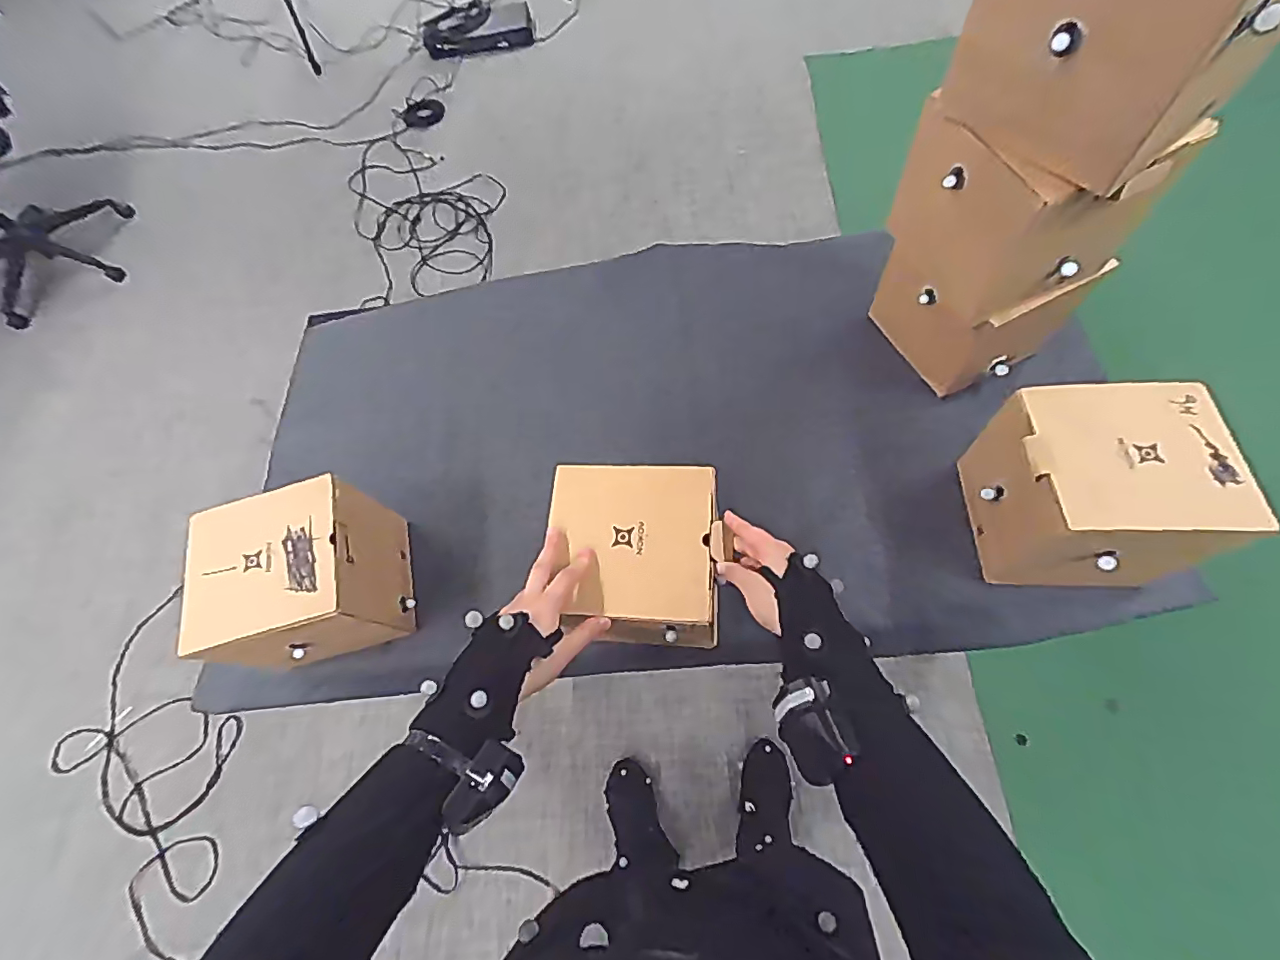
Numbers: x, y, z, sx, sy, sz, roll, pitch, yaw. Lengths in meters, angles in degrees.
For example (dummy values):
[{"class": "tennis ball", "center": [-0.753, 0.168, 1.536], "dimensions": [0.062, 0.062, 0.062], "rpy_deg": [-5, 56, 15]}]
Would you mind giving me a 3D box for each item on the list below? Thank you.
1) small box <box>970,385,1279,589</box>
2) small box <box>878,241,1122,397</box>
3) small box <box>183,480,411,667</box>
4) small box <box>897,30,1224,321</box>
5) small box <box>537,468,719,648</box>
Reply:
[{"class": "small box", "center": [0.487, 0.016, 0.586], "dimensions": [0.179, 0.176, 0.168], "rpy_deg": [-1, 63, 8]}, {"class": "small box", "center": [0.445, -0.242, 0.709], "dimensions": [0.168, 0.176, 0.179], "rpy_deg": [-27, 68, -1]}, {"class": "small box", "center": [-0.400, 0.123, 0.663], "dimensions": [0.179, 0.176, 0.168], "rpy_deg": [-16, 66, 1]}, {"class": "small box", "center": [0.400, -0.302, 0.561], "dimensions": [0.168, 0.176, 0.179], "rpy_deg": [-23, 66, 1]}, {"class": "small box", "center": [0.000, 0.096, 0.624], "dimensions": [0.179, 0.176, 0.168], "rpy_deg": [1, 66, 9]}]
